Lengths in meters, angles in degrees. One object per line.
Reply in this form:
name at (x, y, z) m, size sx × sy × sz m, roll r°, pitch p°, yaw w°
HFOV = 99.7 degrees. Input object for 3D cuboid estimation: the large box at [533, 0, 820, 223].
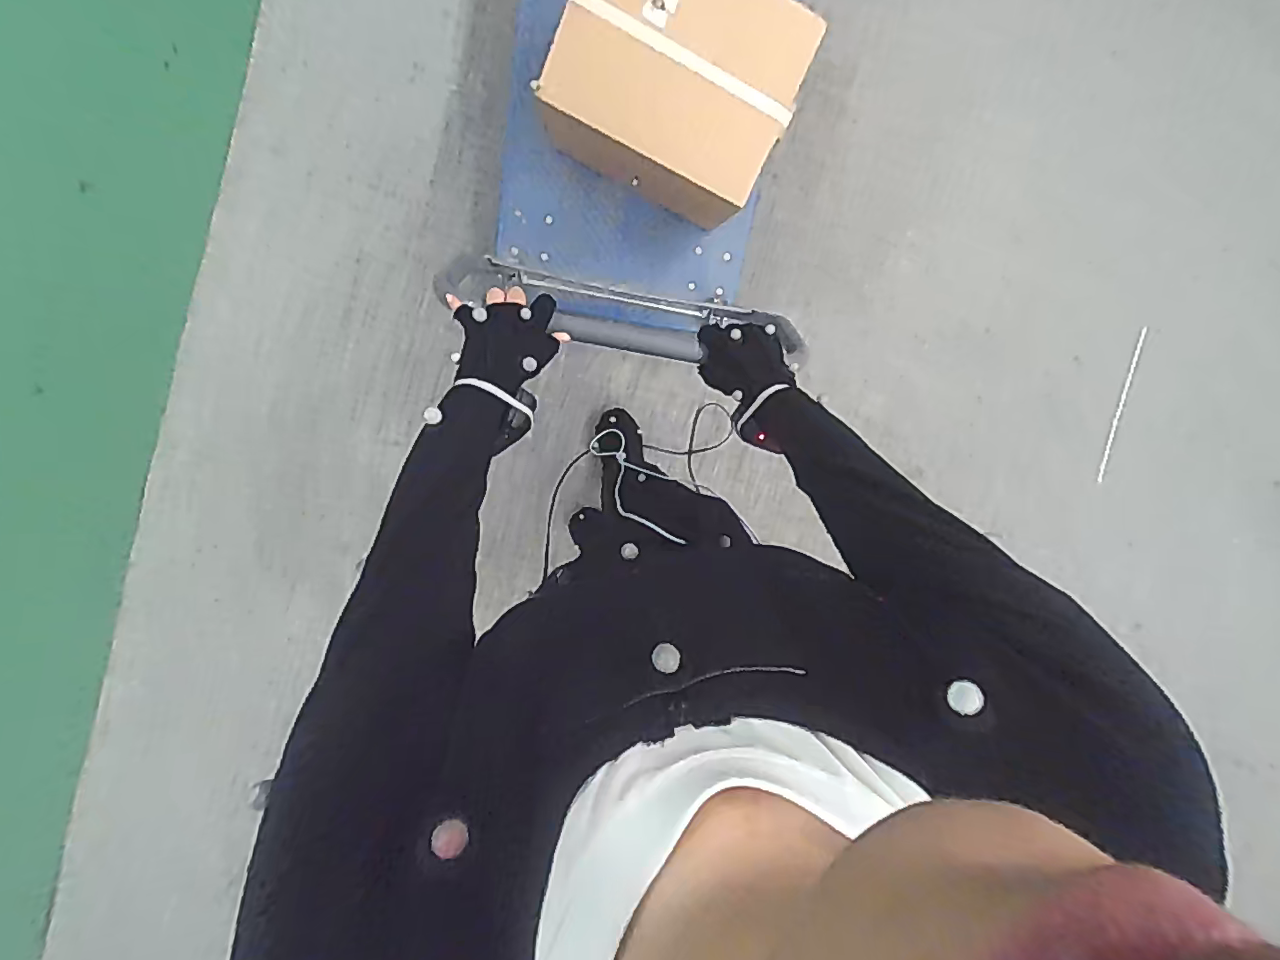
large box at (0.054, -0.750, 1.045) m, size 0.408 × 0.320 × 0.320 m, roll 23°, pitch 105°, yaw -10°
